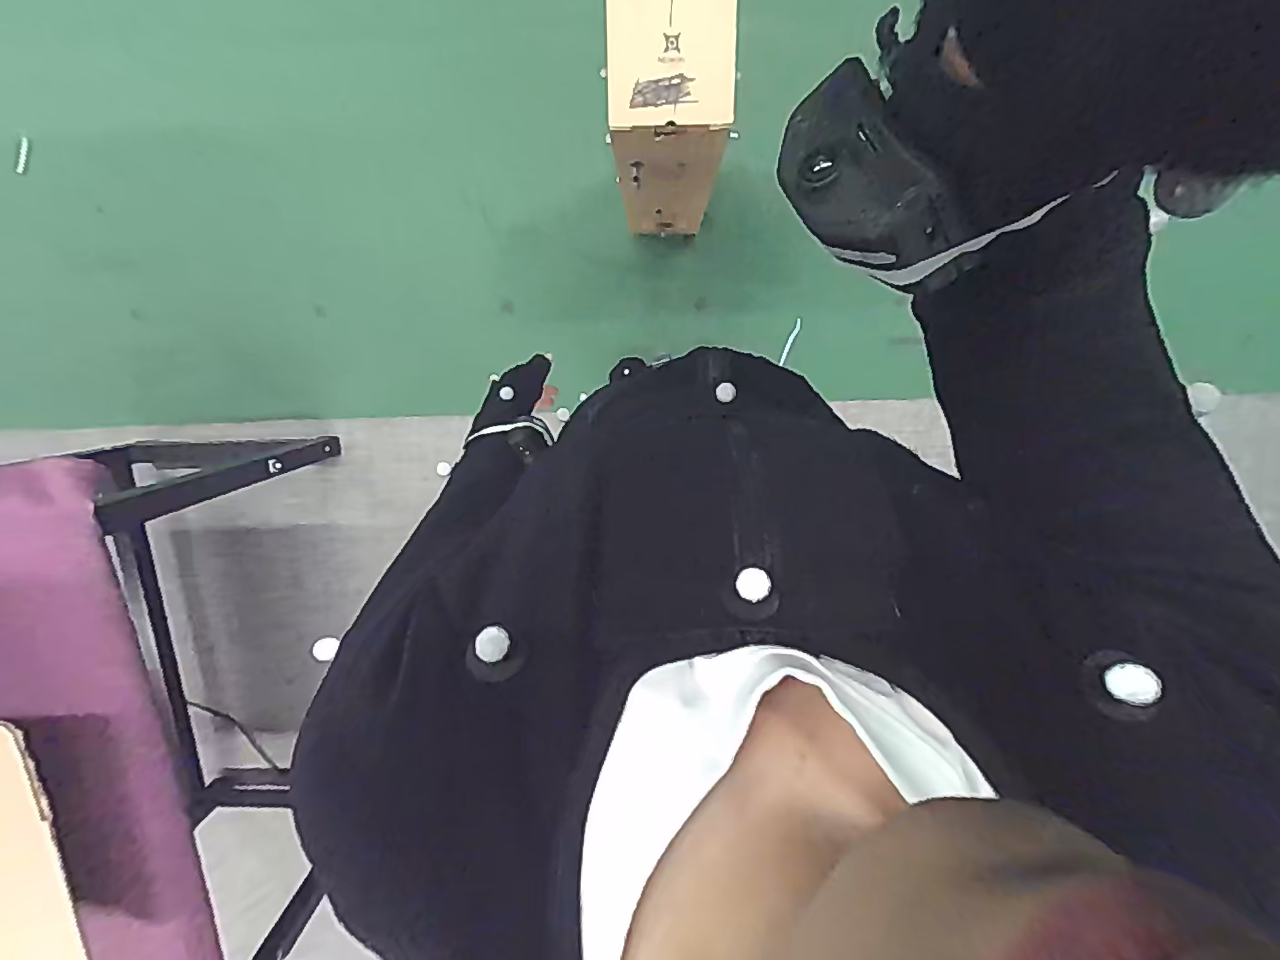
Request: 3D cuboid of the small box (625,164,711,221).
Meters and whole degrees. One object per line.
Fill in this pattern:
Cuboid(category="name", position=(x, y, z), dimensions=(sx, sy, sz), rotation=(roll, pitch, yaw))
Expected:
Cuboid(category="small box", position=(0.053, -0.638, 1.090), dimensions=(0.168, 0.176, 0.179), rotation=(0, 104, 2))

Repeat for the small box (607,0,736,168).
Cuboid(category="small box", position=(0.042, -0.562, 0.770), dimensions=(0.168, 0.176, 0.179), rotation=(0, 103, 1))

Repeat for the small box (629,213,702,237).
Cuboid(category="small box", position=(0.060, -0.674, 1.248), dimensions=(0.168, 0.176, 0.179), rotation=(1, 103, 2))
